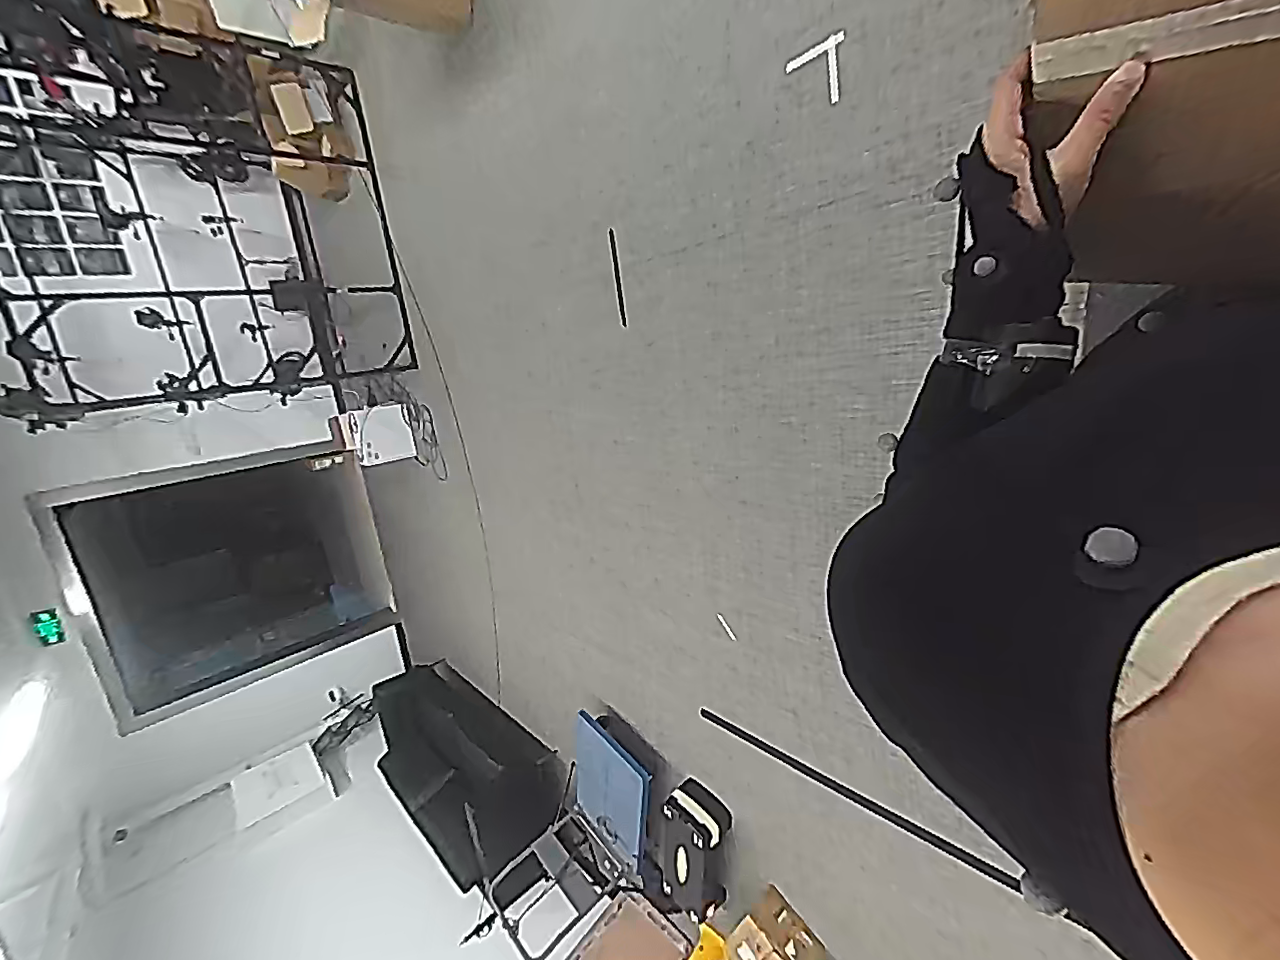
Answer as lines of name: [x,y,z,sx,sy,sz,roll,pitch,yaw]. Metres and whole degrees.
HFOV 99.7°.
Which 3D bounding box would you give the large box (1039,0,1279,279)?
large box: [0.469,-0.317,0.240,0.408,0.320,0.320,21,157,44]
